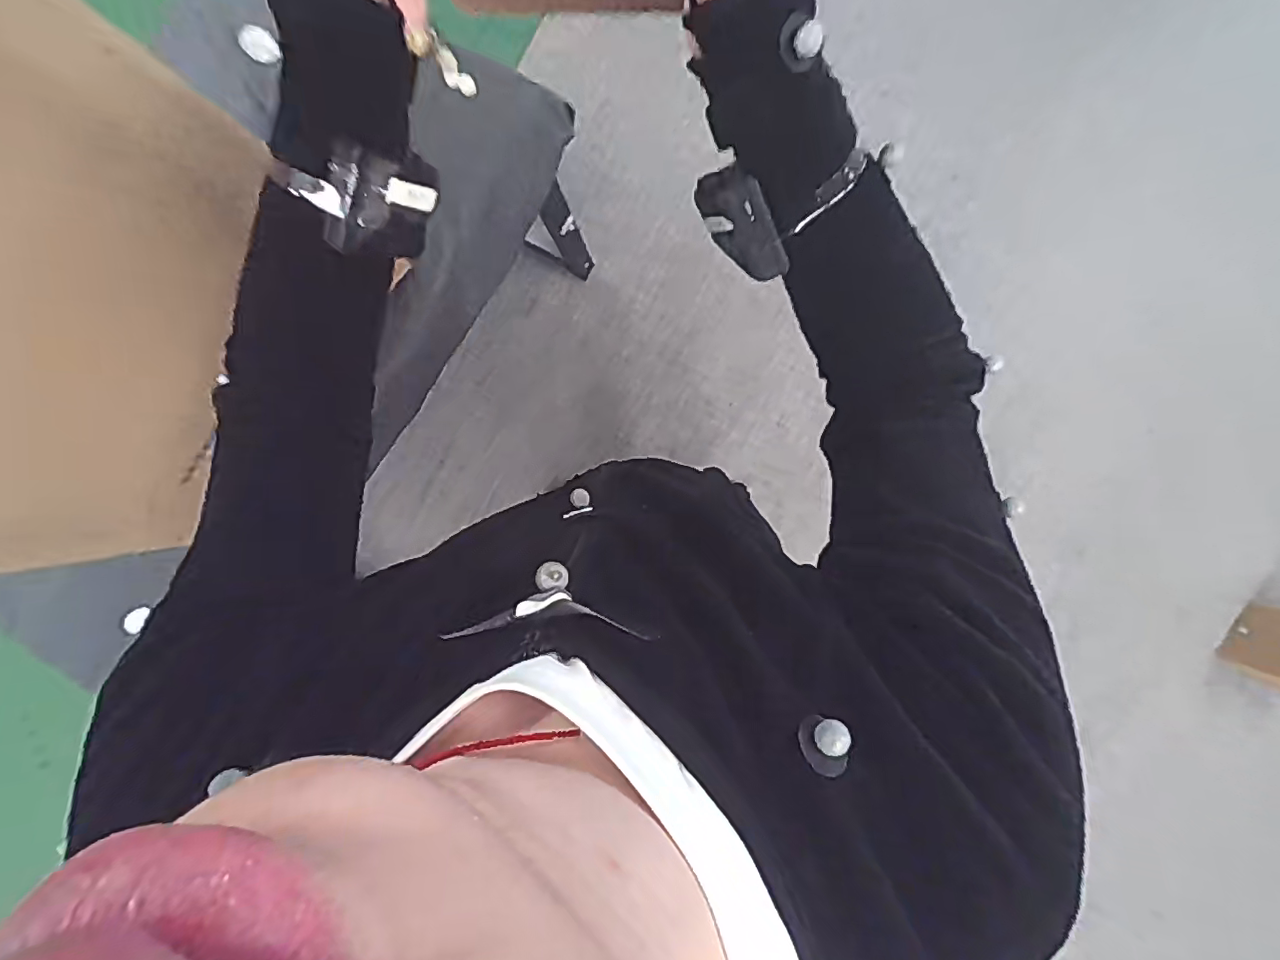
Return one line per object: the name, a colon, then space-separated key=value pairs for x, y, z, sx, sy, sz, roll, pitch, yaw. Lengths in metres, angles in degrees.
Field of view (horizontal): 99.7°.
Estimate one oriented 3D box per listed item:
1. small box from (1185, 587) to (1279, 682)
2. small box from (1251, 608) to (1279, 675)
small box: x=1.620 y=0.408 z=1.431 sx=0.168 sy=0.176 sz=0.179 roll=27 pitch=92 yaw=2
small box: x=1.608 y=0.409 z=1.245 sx=0.179 sy=0.176 sz=0.168 roll=32 pitch=90 yaw=1
